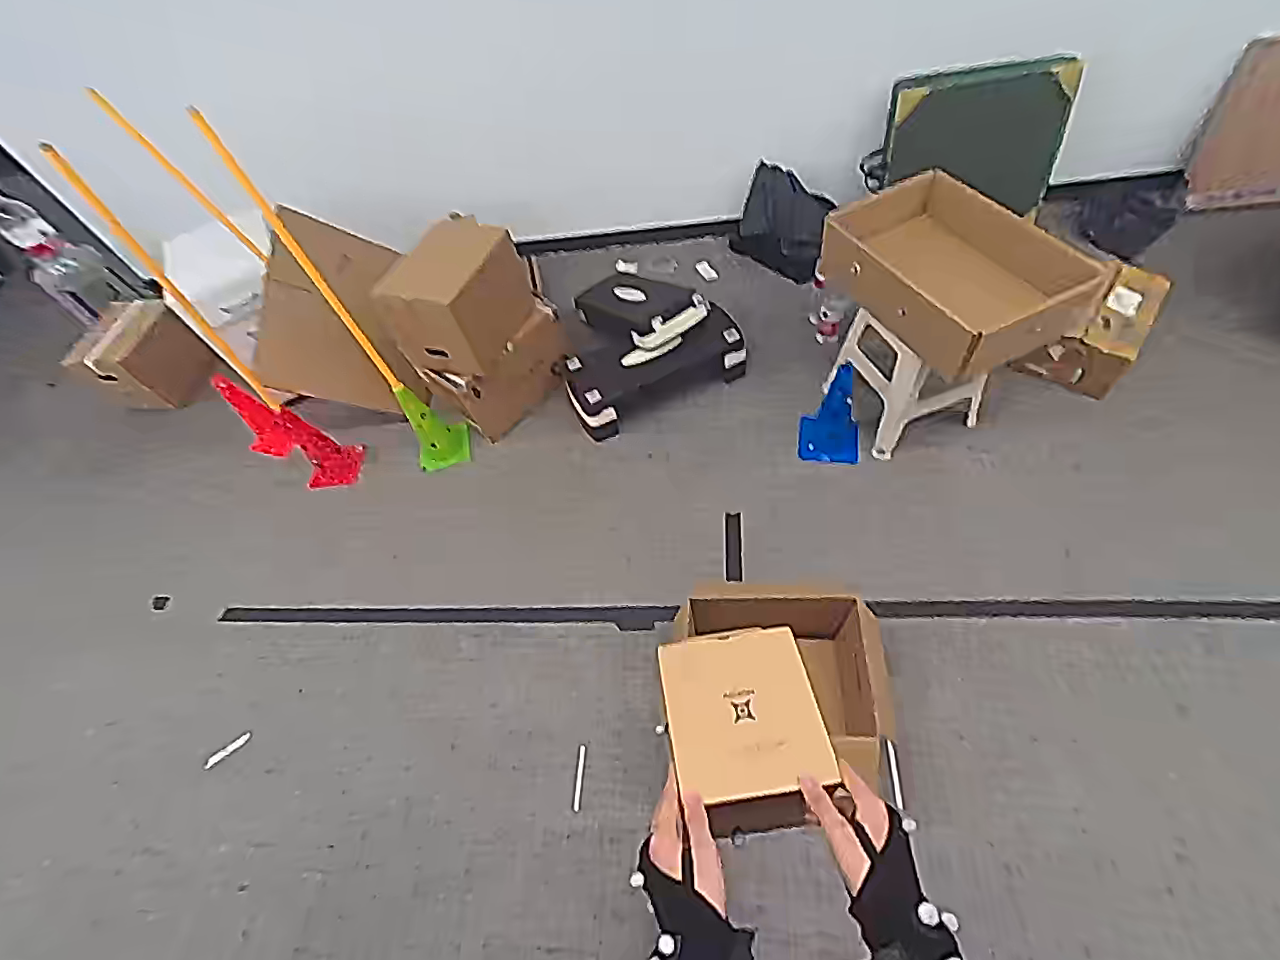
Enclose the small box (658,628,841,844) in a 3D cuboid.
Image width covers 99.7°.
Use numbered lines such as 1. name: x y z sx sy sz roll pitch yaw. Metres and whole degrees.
1. small box: 0.113 0.303 0.644 0.168 0.176 0.179 -7 45 -2
